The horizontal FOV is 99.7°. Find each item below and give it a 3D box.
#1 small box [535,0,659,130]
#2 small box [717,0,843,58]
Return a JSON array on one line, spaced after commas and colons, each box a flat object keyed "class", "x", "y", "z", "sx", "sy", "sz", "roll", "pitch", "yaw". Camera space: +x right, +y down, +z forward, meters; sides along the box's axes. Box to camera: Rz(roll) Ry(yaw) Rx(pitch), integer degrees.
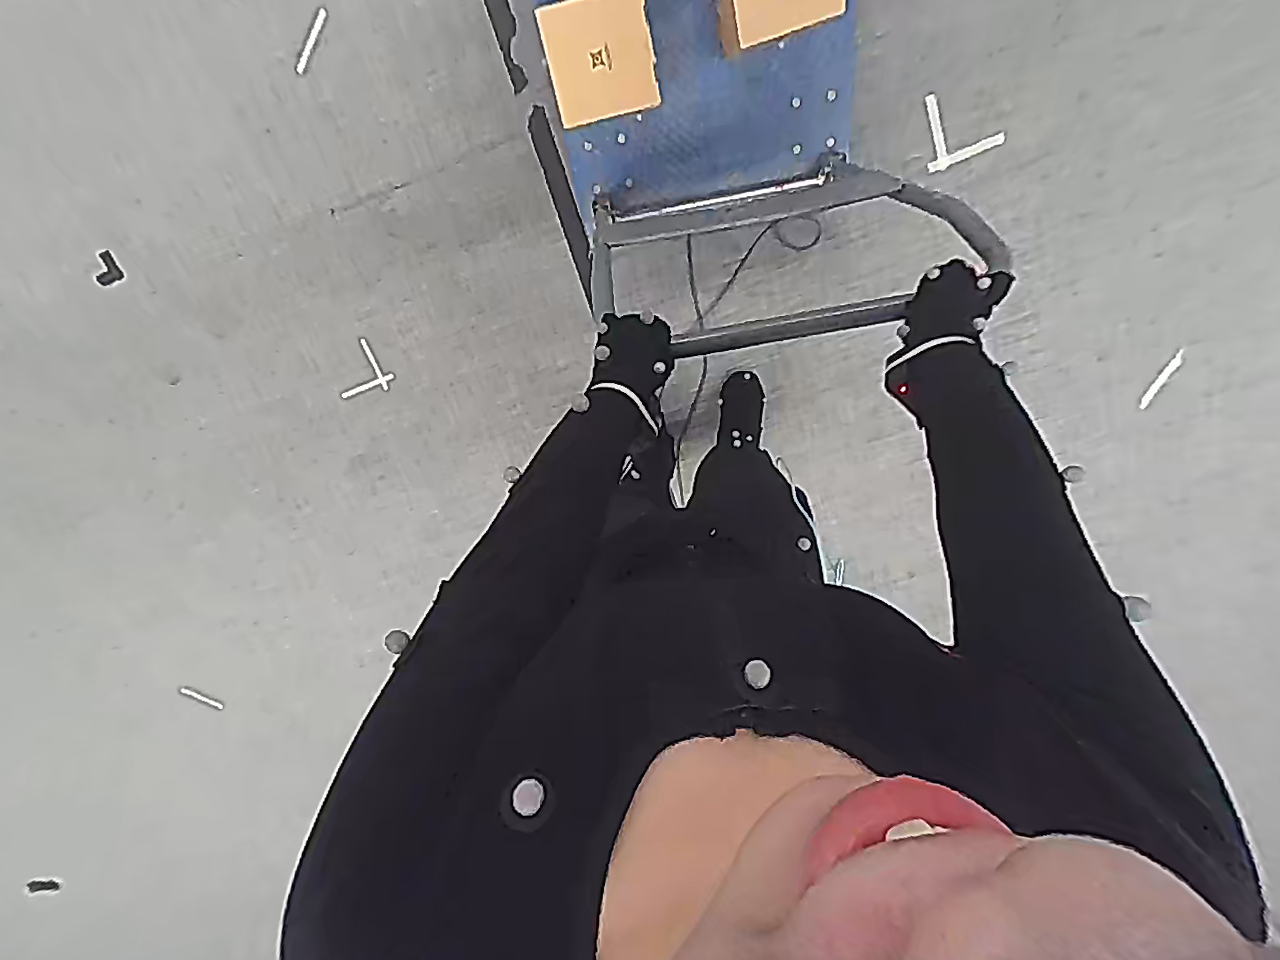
[{"class": "small box", "x": -0.070, "y": -0.736, "z": 0.959, "sx": 0.179, "sy": 0.176, "sz": 0.168, "roll": -12, "pitch": 123, "yaw": 4}, {"class": "small box", "x": 0.221, "y": -0.835, "z": 0.903, "sx": 0.179, "sy": 0.176, "sz": 0.168, "roll": -14, "pitch": 123, "yaw": 7}]
